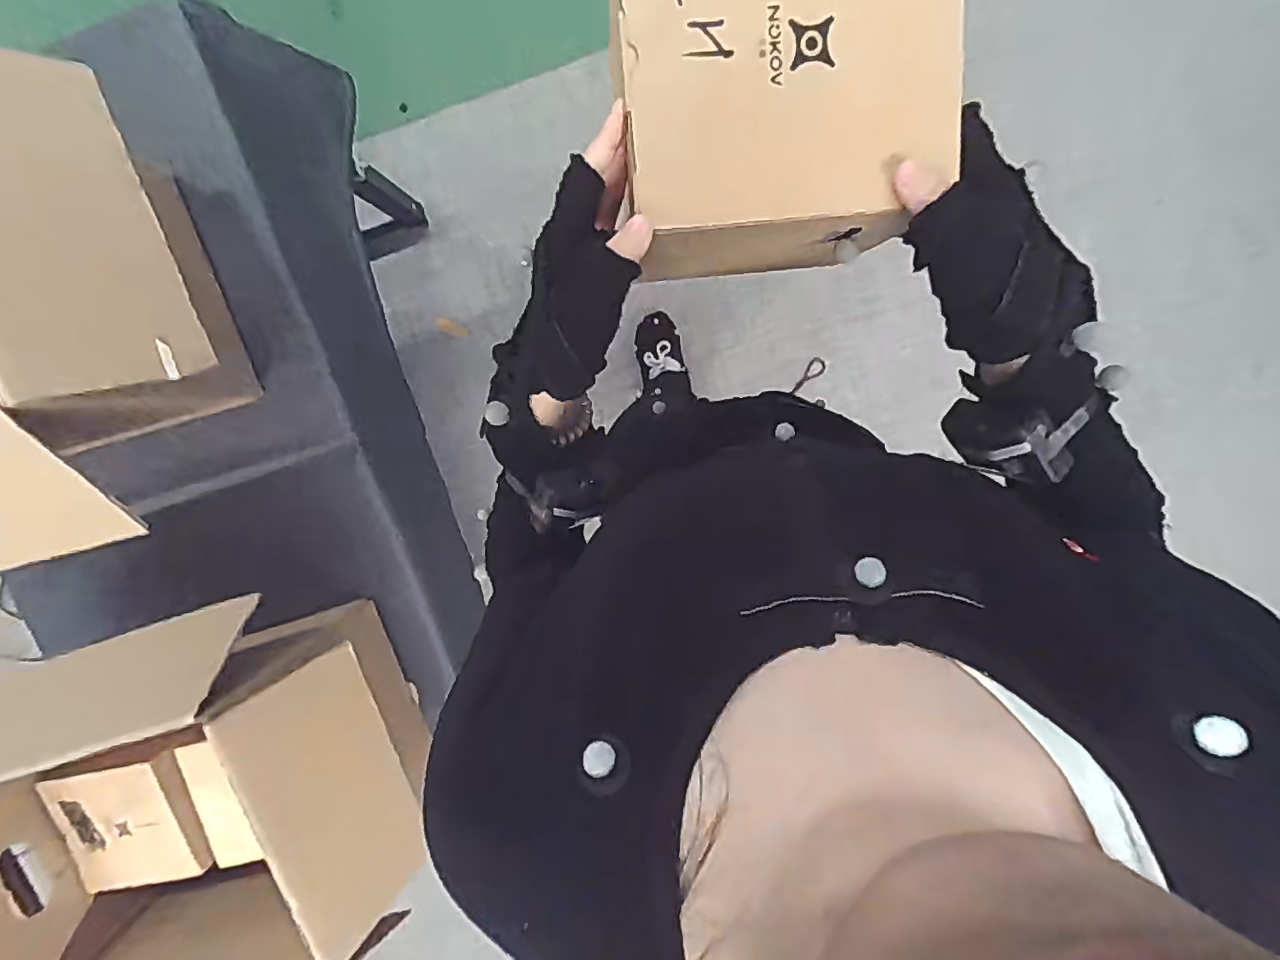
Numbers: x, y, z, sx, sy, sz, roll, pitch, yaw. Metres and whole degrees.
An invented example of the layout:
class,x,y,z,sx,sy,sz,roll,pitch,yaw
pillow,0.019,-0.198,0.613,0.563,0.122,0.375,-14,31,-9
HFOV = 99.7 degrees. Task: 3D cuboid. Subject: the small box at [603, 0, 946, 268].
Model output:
class,x,y,z,sx,sy,sz,roll,pitch,yaw
small box,0.068,-0.243,0.355,0.179,0.176,0.168,-5,101,-2
